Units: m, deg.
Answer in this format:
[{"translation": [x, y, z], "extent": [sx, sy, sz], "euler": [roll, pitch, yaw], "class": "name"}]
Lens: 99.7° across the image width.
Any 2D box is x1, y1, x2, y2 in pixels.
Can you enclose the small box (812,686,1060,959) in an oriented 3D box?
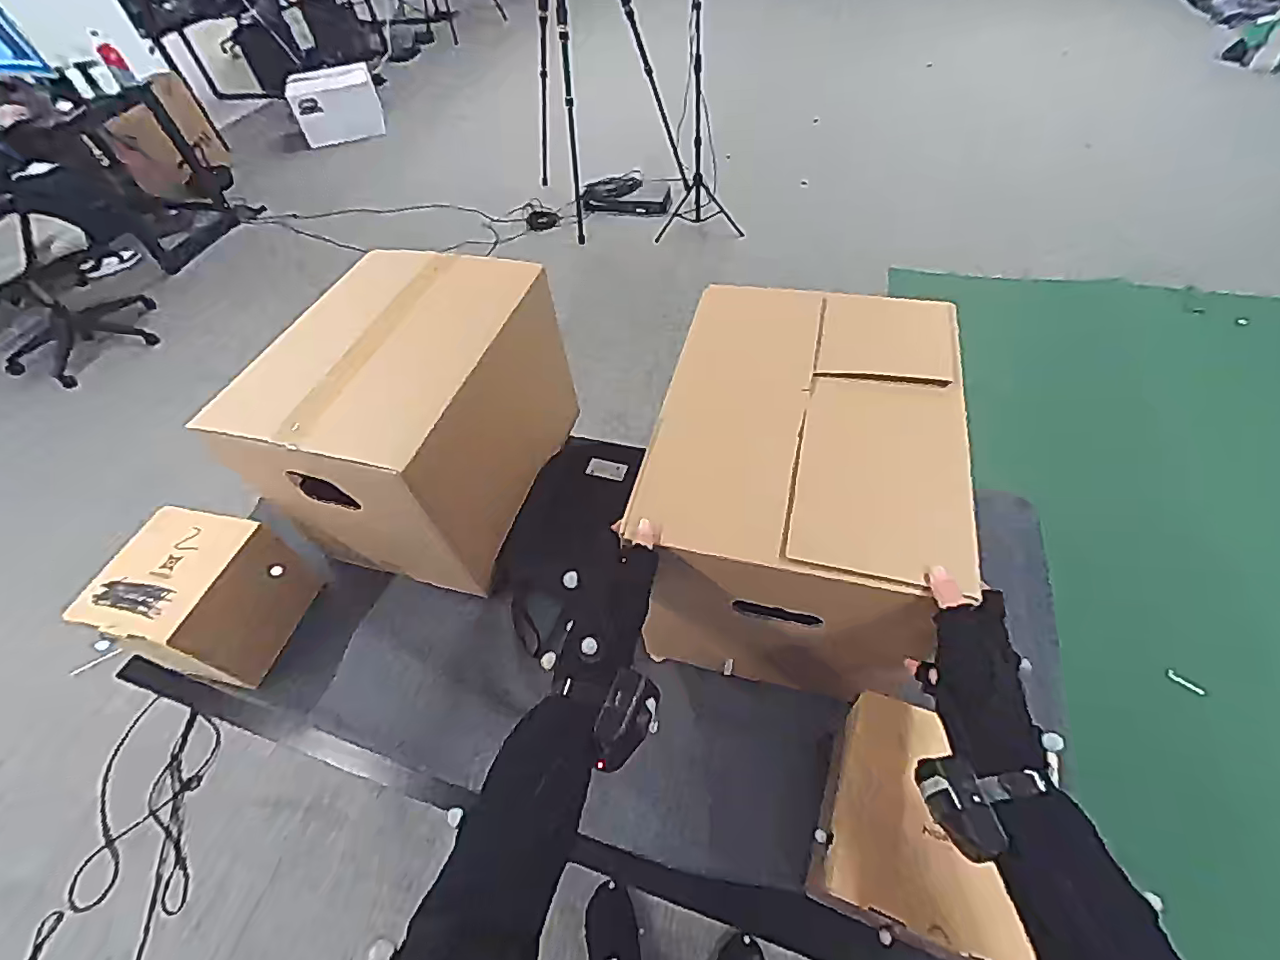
[{"translation": [0.274, 0.335, 0.529], "extent": [0.168, 0.176, 0.179], "euler": [15, 58, 19], "class": "small box"}]
